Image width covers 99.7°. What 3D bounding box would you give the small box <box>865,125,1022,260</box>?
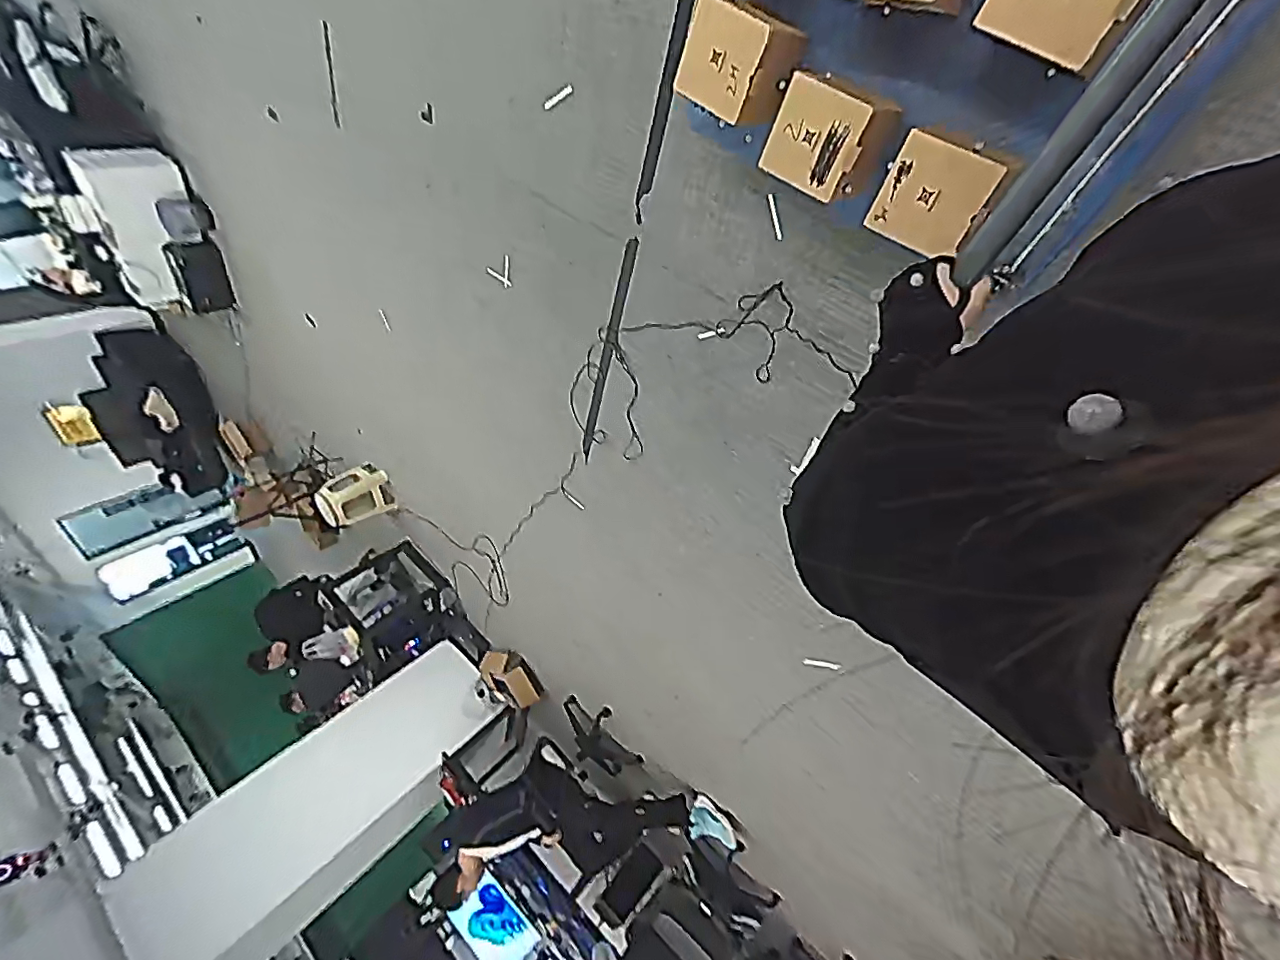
[{"bbox_3d":[0.558,-0.532,0.992,0.179,0.176,0.168,38,136,19],"label":"small box"}]

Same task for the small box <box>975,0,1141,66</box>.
[{"bbox_3d":[0.638,-0.731,0.784,0.179,0.176,0.168,41,137,16],"label":"small box"}]

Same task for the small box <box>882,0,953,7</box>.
[{"bbox_3d":[0.445,-0.881,0.866,0.179,0.176,0.168,32,134,25],"label":"small box"}]

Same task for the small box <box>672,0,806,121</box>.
[{"bbox_3d":[0.203,-0.863,1.108,0.179,0.176,0.168,41,138,15],"label":"small box"}]
